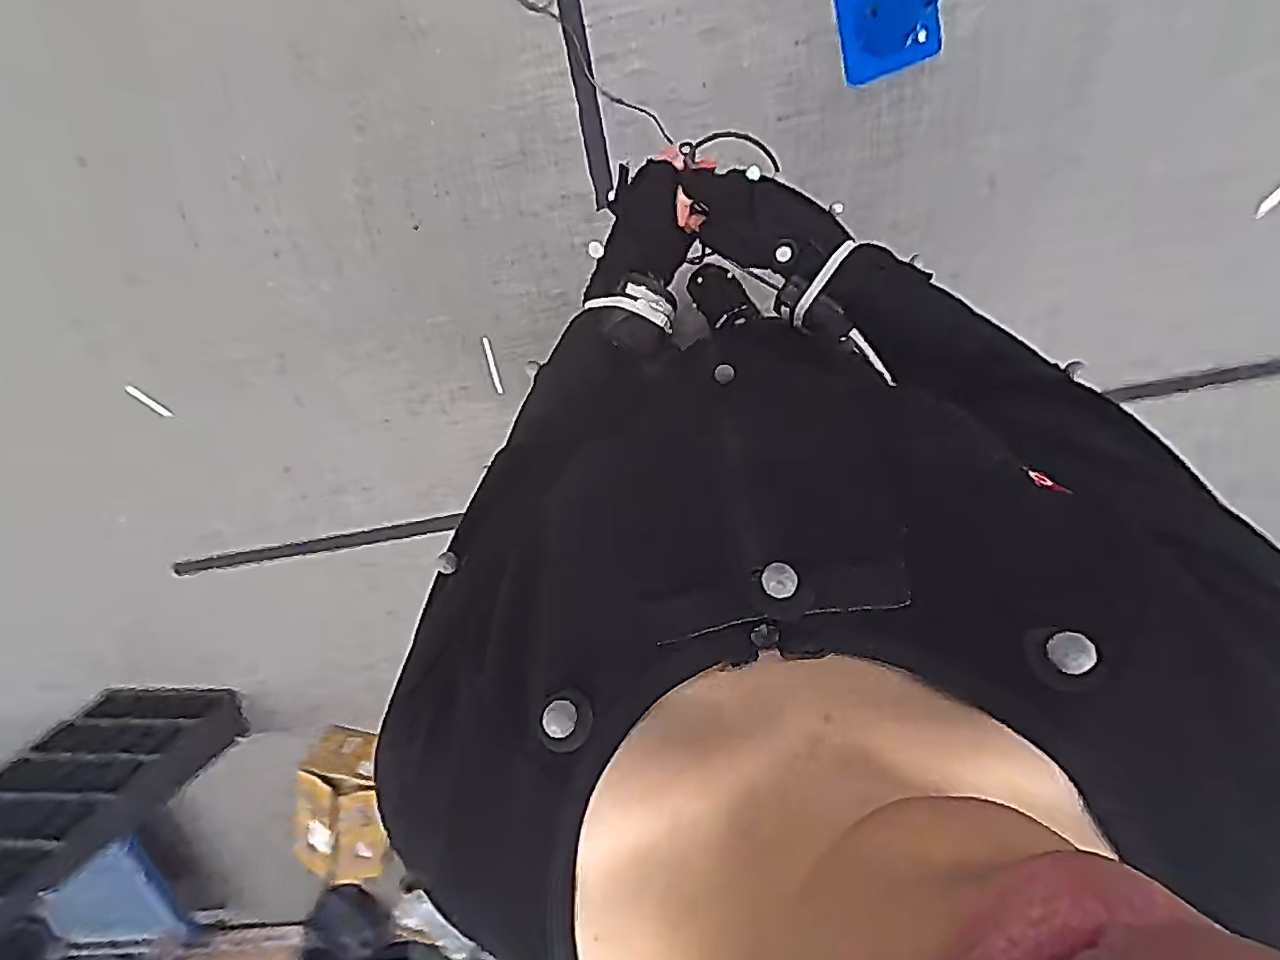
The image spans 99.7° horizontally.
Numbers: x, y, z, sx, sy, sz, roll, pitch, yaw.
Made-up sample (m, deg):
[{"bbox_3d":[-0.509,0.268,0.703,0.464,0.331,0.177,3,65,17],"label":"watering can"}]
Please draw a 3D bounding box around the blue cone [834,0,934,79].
[{"bbox_3d":[0.498,-0.909,0.972,0.192,0.380,0.193,-15,109,9],"label":"blue cone"}]
